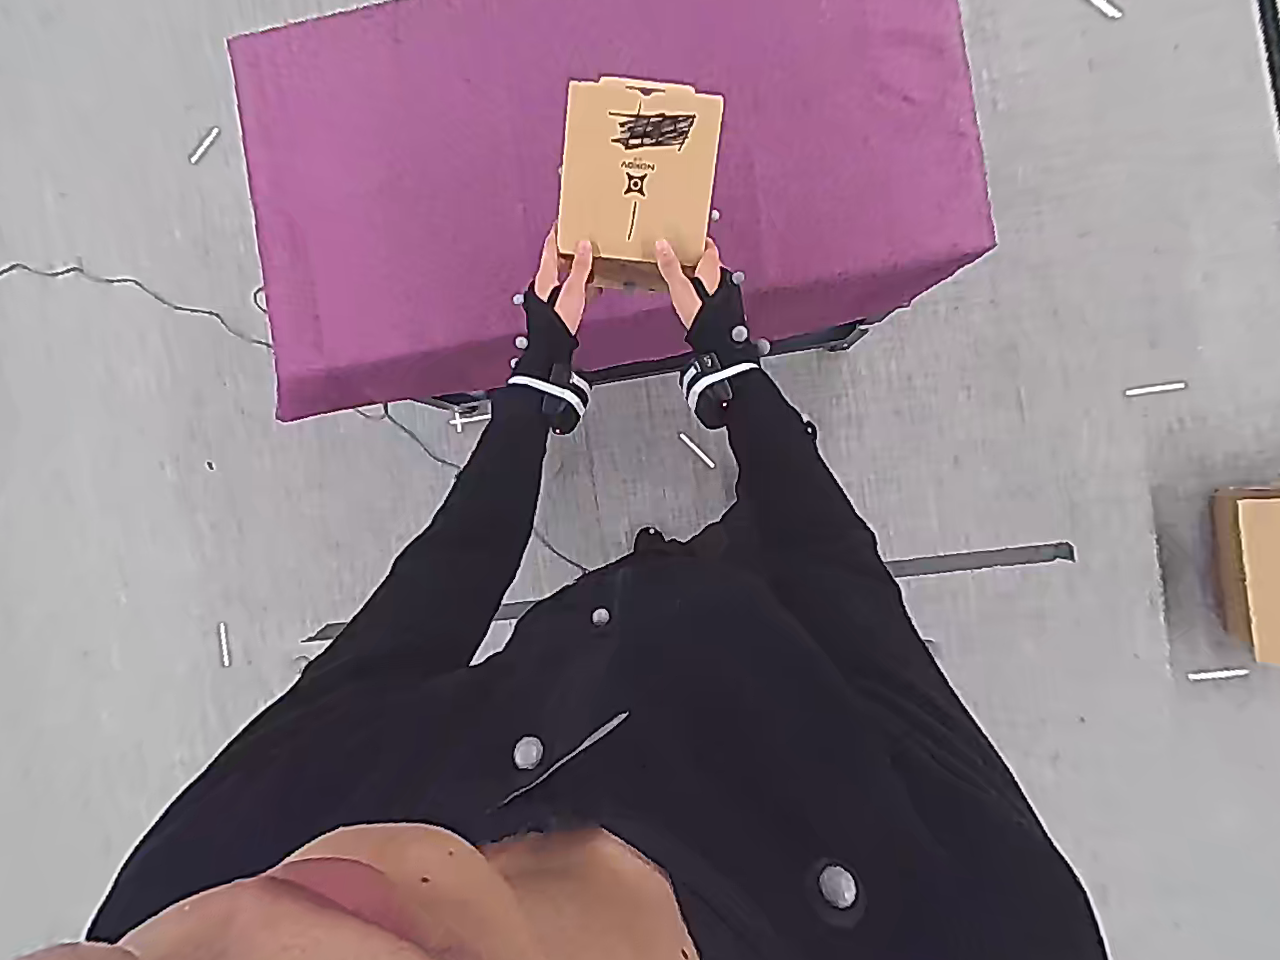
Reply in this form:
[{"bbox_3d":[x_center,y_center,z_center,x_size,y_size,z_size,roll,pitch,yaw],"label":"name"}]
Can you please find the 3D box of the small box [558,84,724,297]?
[{"bbox_3d":[0.001,-0.339,0.665,0.168,0.176,0.179,6,99,1],"label":"small box"}]
